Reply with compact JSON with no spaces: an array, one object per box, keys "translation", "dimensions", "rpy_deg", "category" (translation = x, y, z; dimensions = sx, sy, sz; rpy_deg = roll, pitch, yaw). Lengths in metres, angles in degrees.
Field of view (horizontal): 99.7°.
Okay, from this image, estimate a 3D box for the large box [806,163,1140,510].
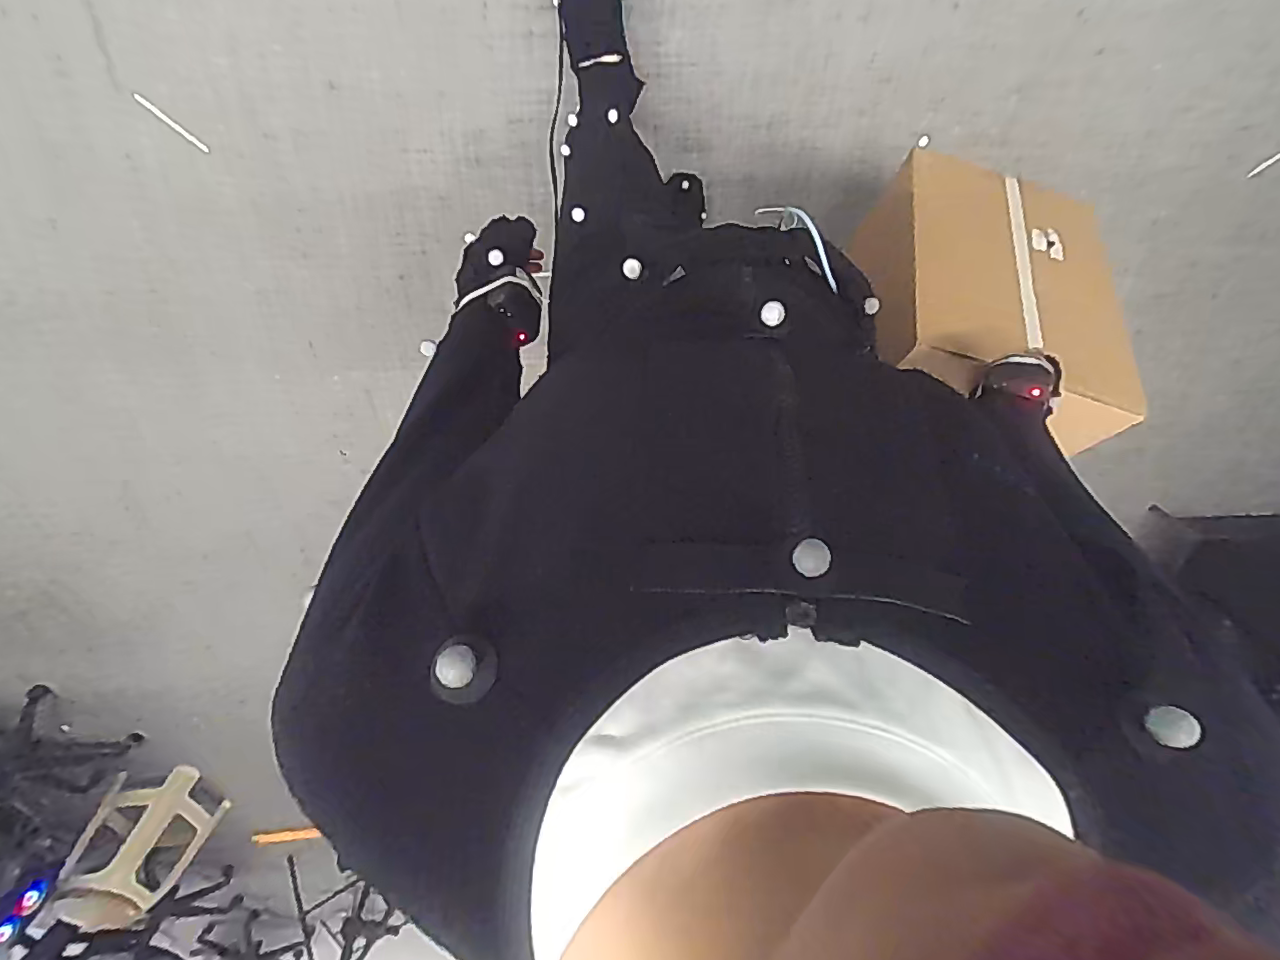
[{"translation":[0.488,-0.215,0.883],"dimensions":[0.320,0.408,0.320],"rpy_deg":[17,151,-5],"category":"large box"}]
